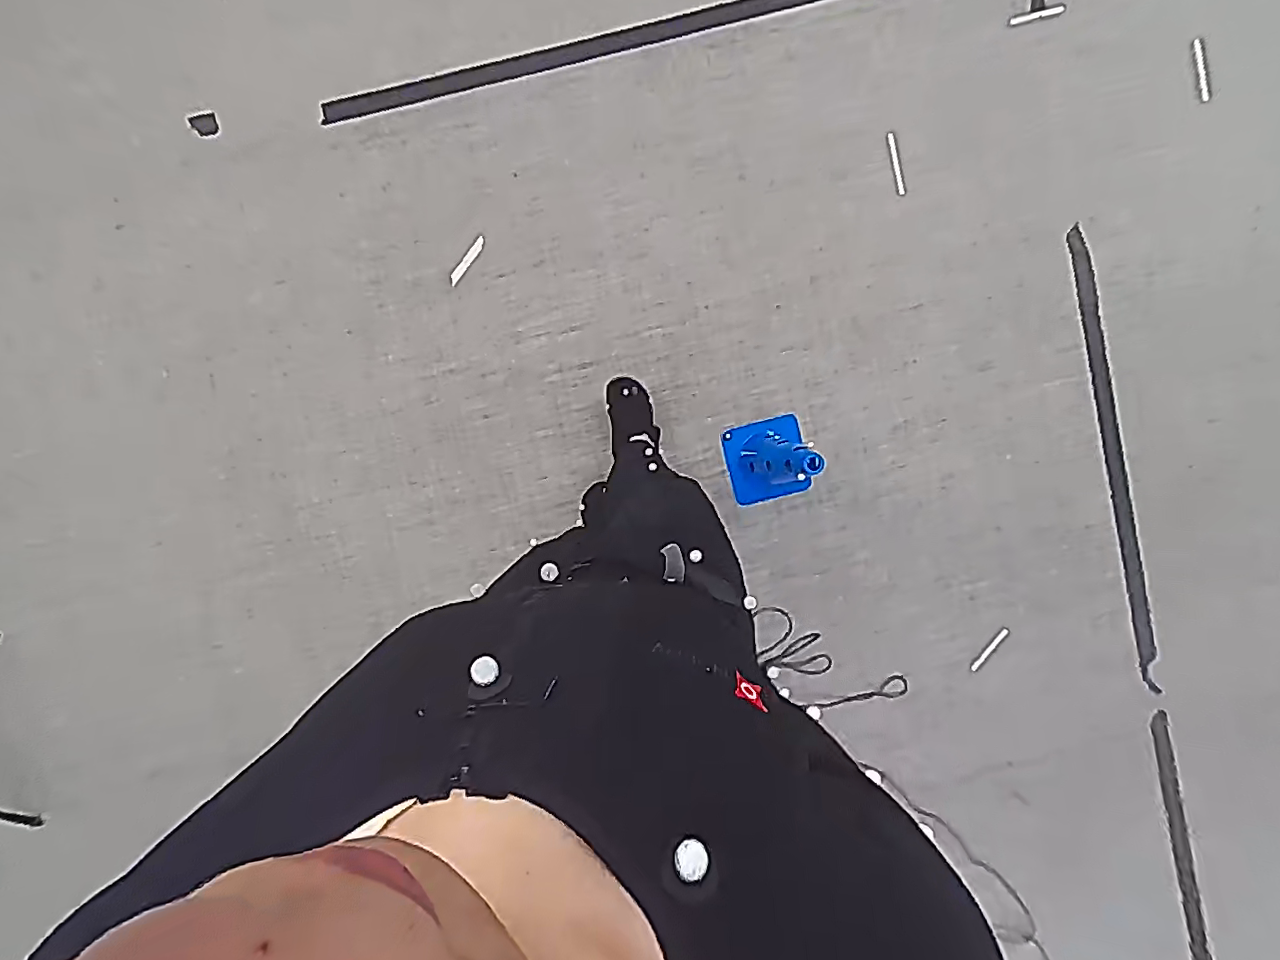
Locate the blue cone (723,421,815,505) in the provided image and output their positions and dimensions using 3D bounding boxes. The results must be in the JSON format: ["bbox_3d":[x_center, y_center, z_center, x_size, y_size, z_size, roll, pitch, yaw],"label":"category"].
[{"bbox_3d":[0.316,-0.034,1.187,0.192,0.380,0.193,-13,94,1],"label":"blue cone"}]
